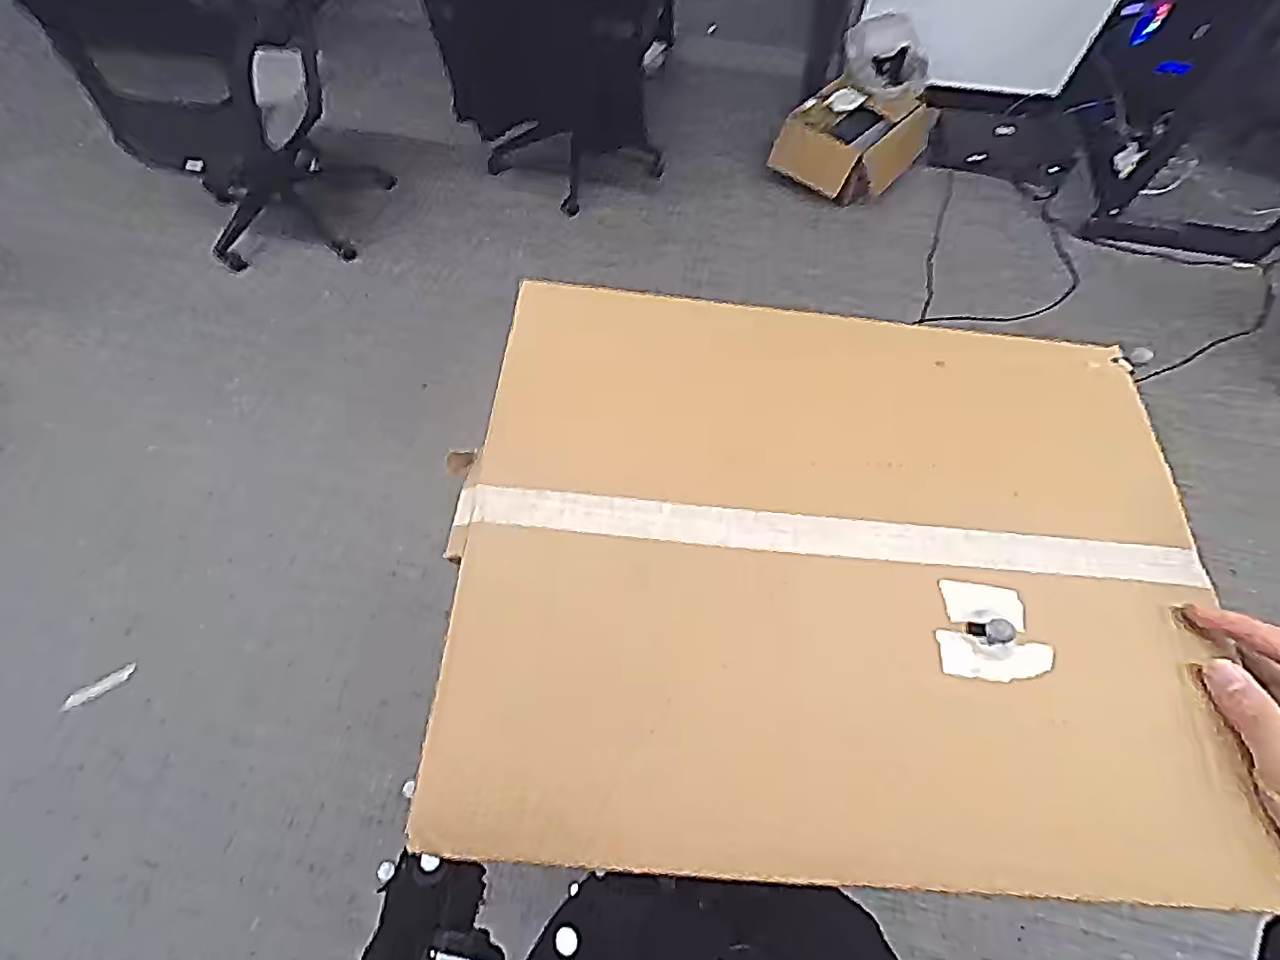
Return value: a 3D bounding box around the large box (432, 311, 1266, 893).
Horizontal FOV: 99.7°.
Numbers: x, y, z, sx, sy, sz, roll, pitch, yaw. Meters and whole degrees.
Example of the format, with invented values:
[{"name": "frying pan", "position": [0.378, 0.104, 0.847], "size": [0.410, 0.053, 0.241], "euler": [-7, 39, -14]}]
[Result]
[{"name": "large box", "position": [0.096, 0.102, 0.441], "size": [0.408, 0.320, 0.320], "euler": [5, 66, -4]}]
